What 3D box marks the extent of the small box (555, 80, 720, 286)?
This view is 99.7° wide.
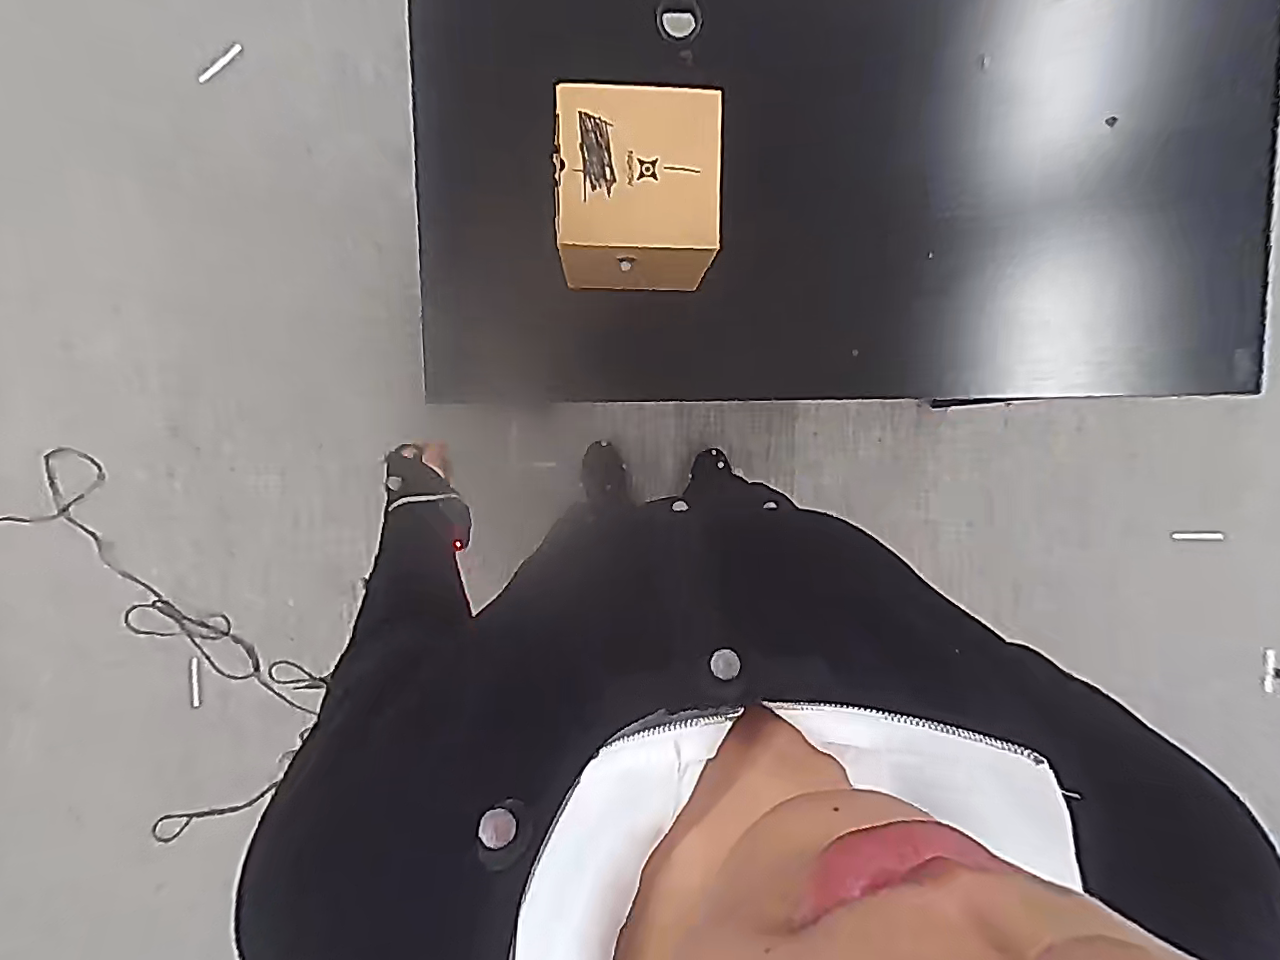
[{"bbox_3d":[-0.007,-0.341,0.654,0.179,0.176,0.168,0,95,-4],"label":"small box"}]
